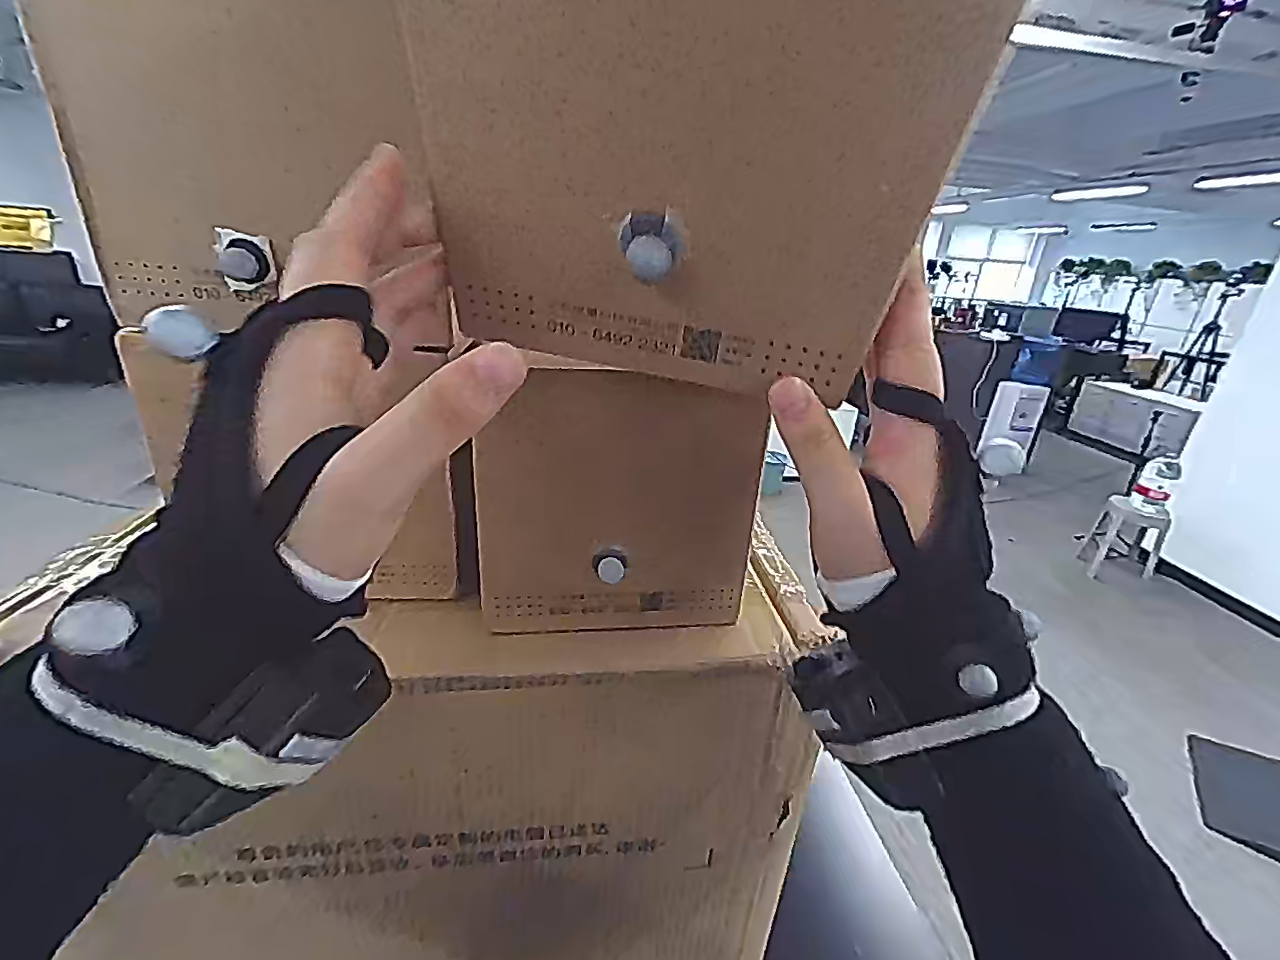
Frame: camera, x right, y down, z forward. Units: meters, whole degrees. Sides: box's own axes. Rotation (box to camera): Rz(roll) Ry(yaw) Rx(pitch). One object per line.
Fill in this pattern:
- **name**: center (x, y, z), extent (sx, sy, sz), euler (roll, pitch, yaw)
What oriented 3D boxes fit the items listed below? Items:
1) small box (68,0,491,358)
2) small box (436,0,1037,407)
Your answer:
- **small box**: center (-0.182, -0.181, 0.336), extent (0.168, 0.176, 0.179), euler (1, 25, -8)
- **small box**: center (0.028, -0.160, 0.226), extent (0.168, 0.176, 0.179), euler (12, 51, 5)
